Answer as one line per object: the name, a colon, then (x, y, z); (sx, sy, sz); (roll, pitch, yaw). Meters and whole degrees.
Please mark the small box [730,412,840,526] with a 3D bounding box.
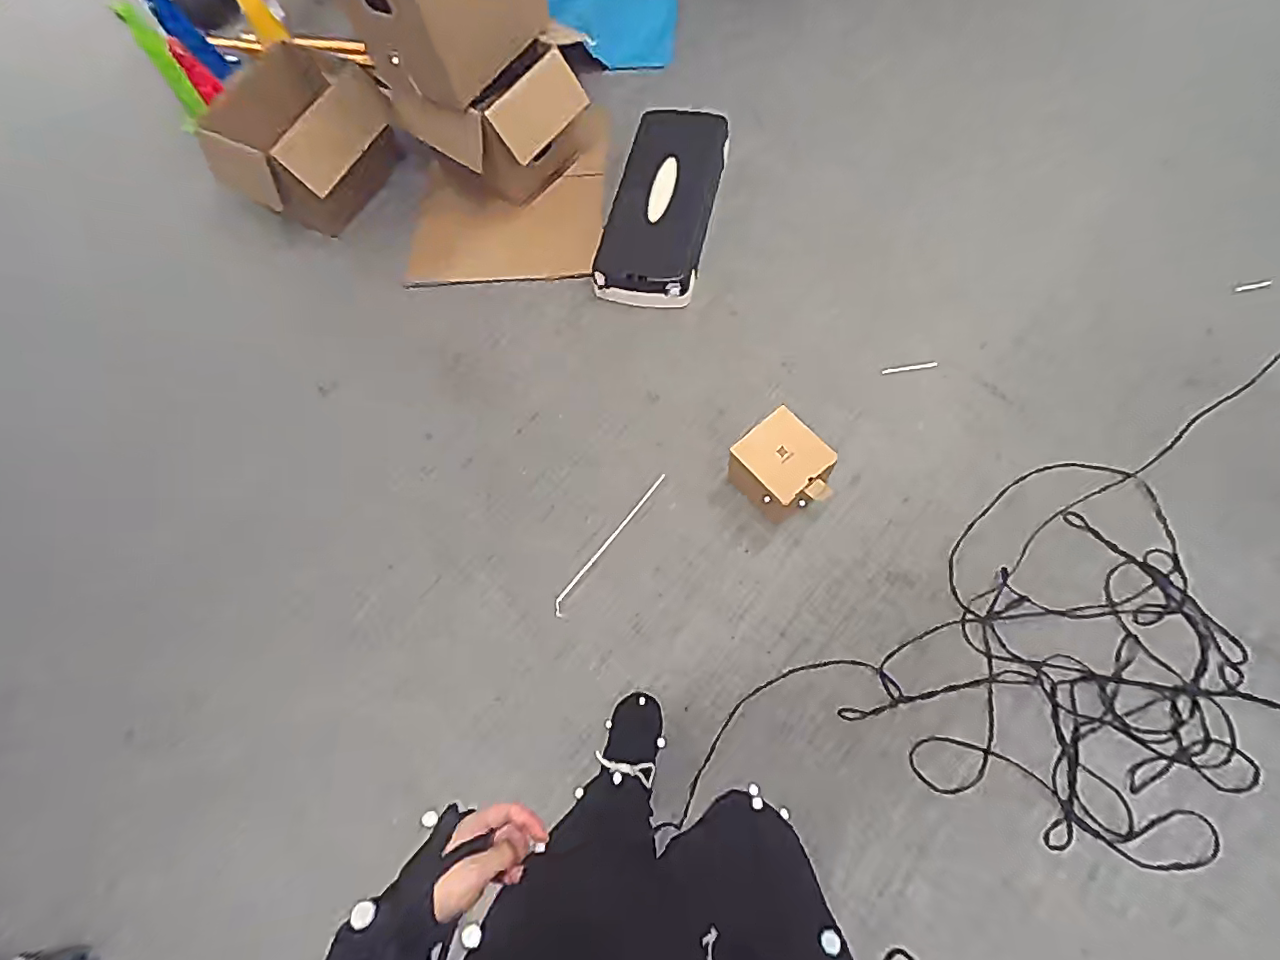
small box: (0.324, -0.018, 1.254); (0.168, 0.176, 0.179); (-39, 71, -9)
